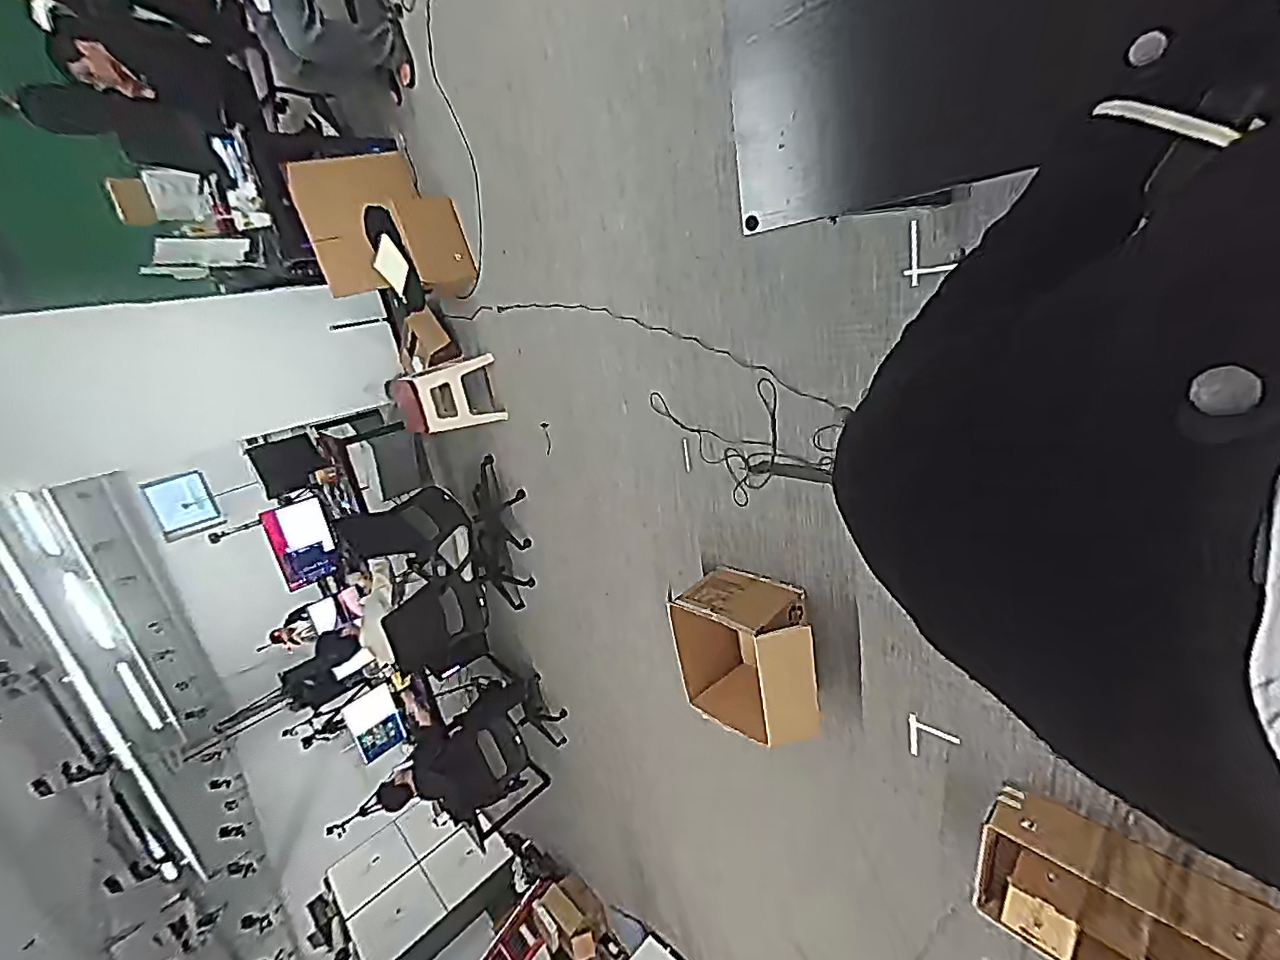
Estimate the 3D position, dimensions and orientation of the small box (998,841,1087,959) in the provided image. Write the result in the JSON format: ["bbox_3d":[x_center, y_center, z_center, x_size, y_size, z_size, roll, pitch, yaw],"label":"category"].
[{"bbox_3d":[1.172,1.210,1.571,0.168,0.176,0.179,16,120,43],"label":"small box"}]

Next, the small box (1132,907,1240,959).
[{"bbox_3d":[1.369,1.247,1.362,0.179,0.176,0.168,15,118,47],"label":"small box"}]
